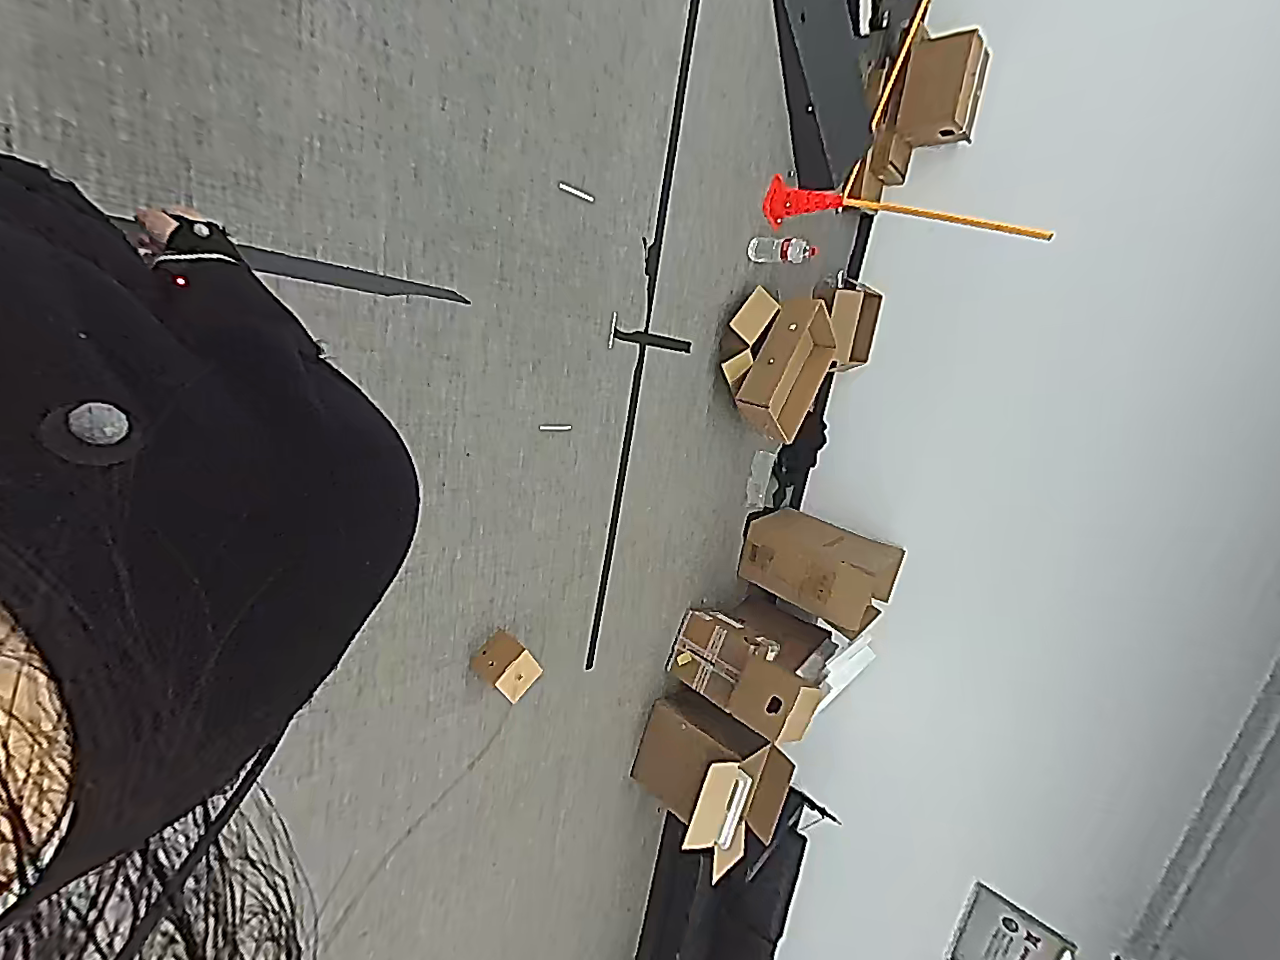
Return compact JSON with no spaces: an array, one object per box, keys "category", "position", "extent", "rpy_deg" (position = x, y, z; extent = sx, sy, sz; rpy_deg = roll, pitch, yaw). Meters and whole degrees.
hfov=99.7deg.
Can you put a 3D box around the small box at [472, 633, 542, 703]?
[{"category":"small box","position":[-0.518,0.720,2.092],"extent":[0.168,0.176,0.179],"rpy_deg":[-46,139,-26]}]
